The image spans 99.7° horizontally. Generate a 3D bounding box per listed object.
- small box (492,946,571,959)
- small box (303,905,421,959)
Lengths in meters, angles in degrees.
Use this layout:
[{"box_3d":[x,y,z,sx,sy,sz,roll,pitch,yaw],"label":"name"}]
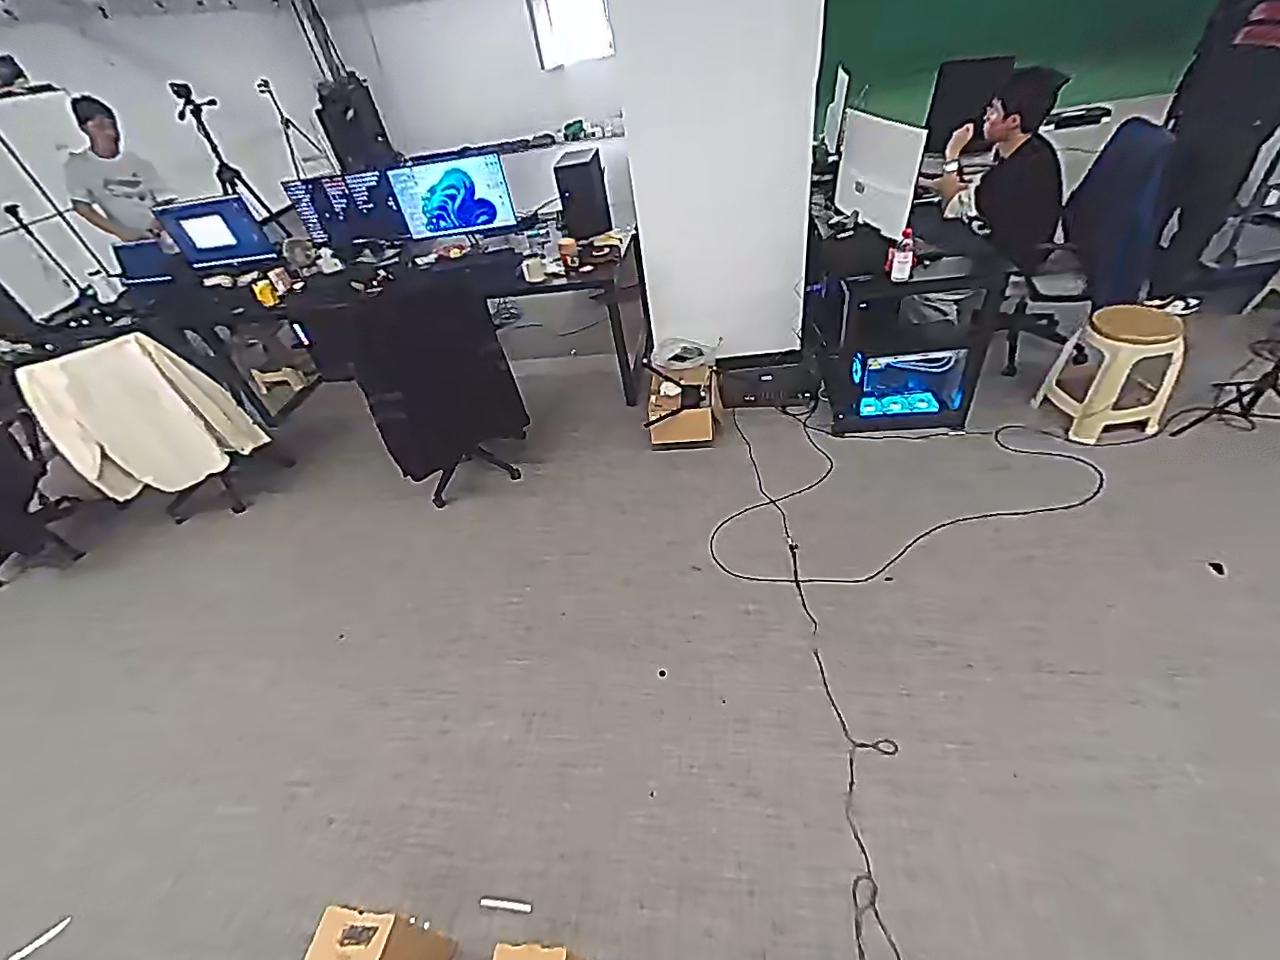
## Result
[{"box_3d":[-0.235,1.137,1.164,0.168,0.176,0.179,-3,41,9],"label":"small box"},{"box_3d":[-0.584,1.020,1.122,0.168,0.176,0.179,-1,42,12],"label":"small box"}]
